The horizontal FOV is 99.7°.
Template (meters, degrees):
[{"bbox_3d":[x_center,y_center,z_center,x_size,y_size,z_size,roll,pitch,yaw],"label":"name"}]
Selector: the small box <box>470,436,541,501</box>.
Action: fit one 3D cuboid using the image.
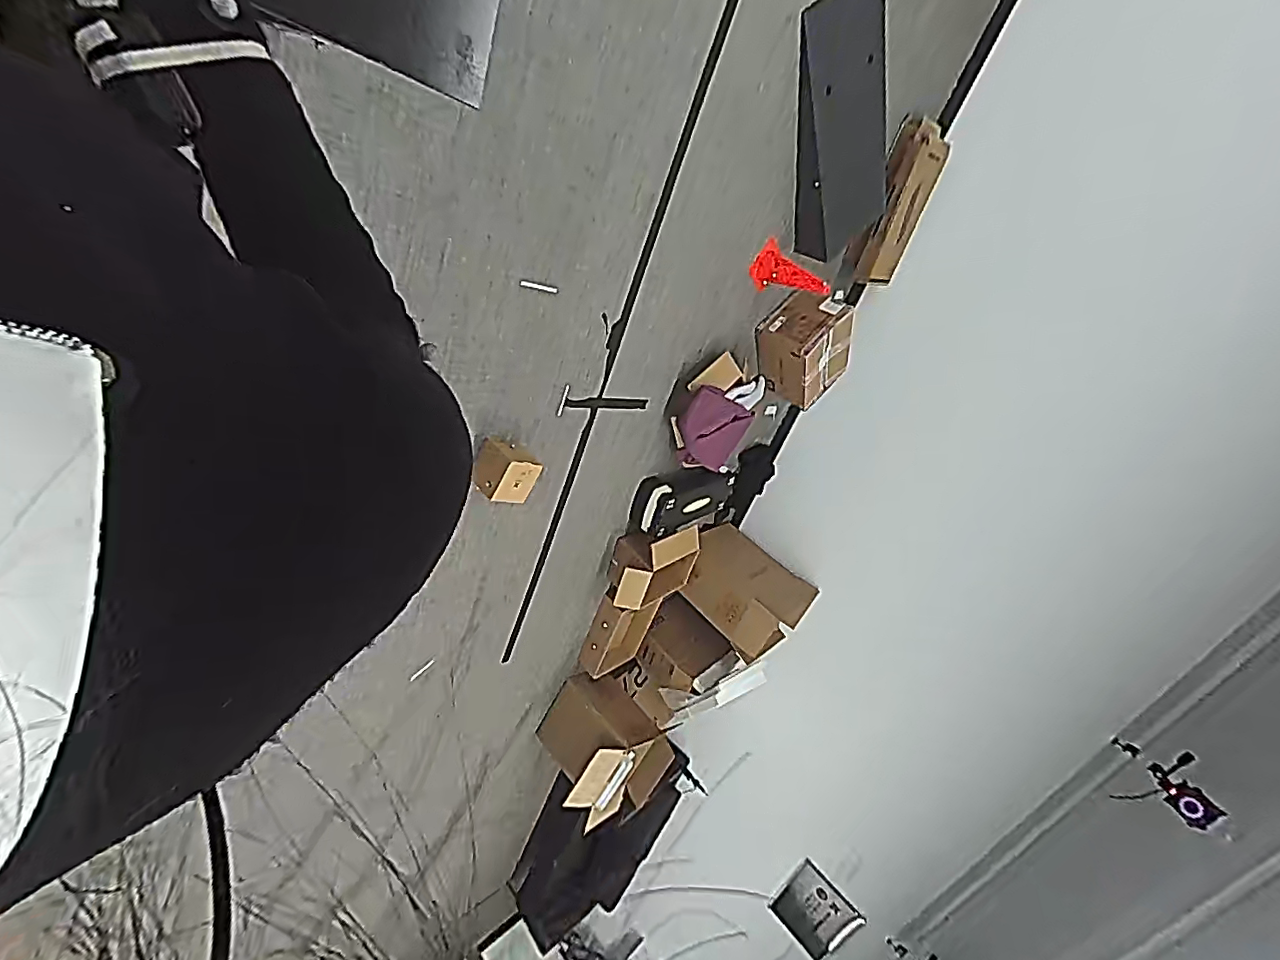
[{"bbox_3d":[-0.514,-0.041,2.040,0.168,0.176,0.179,9,115,-56],"label":"small box"}]
